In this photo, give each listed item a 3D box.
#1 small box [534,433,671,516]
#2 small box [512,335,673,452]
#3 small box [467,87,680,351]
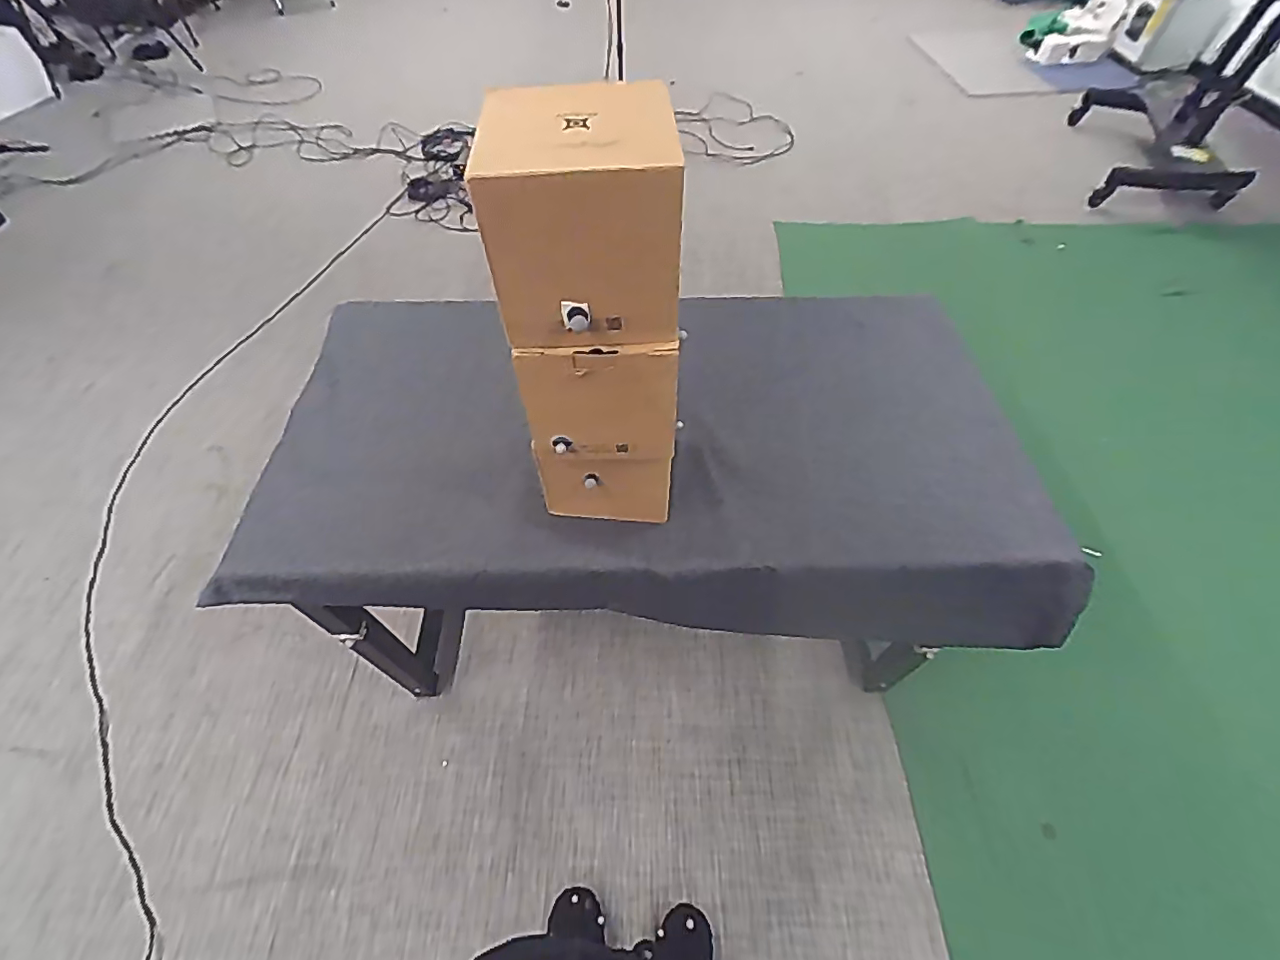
[{"bbox_3d":[-0.044,-0.059,0.793,0.179,0.176,0.168,2,53,1],"label":"small box"},{"bbox_3d":[-0.048,-0.145,0.649,0.168,0.176,0.179,-3,55,-1],"label":"small box"},{"bbox_3d":[-0.054,-0.249,0.525,0.168,0.176,0.179,-4,55,-1],"label":"small box"}]
